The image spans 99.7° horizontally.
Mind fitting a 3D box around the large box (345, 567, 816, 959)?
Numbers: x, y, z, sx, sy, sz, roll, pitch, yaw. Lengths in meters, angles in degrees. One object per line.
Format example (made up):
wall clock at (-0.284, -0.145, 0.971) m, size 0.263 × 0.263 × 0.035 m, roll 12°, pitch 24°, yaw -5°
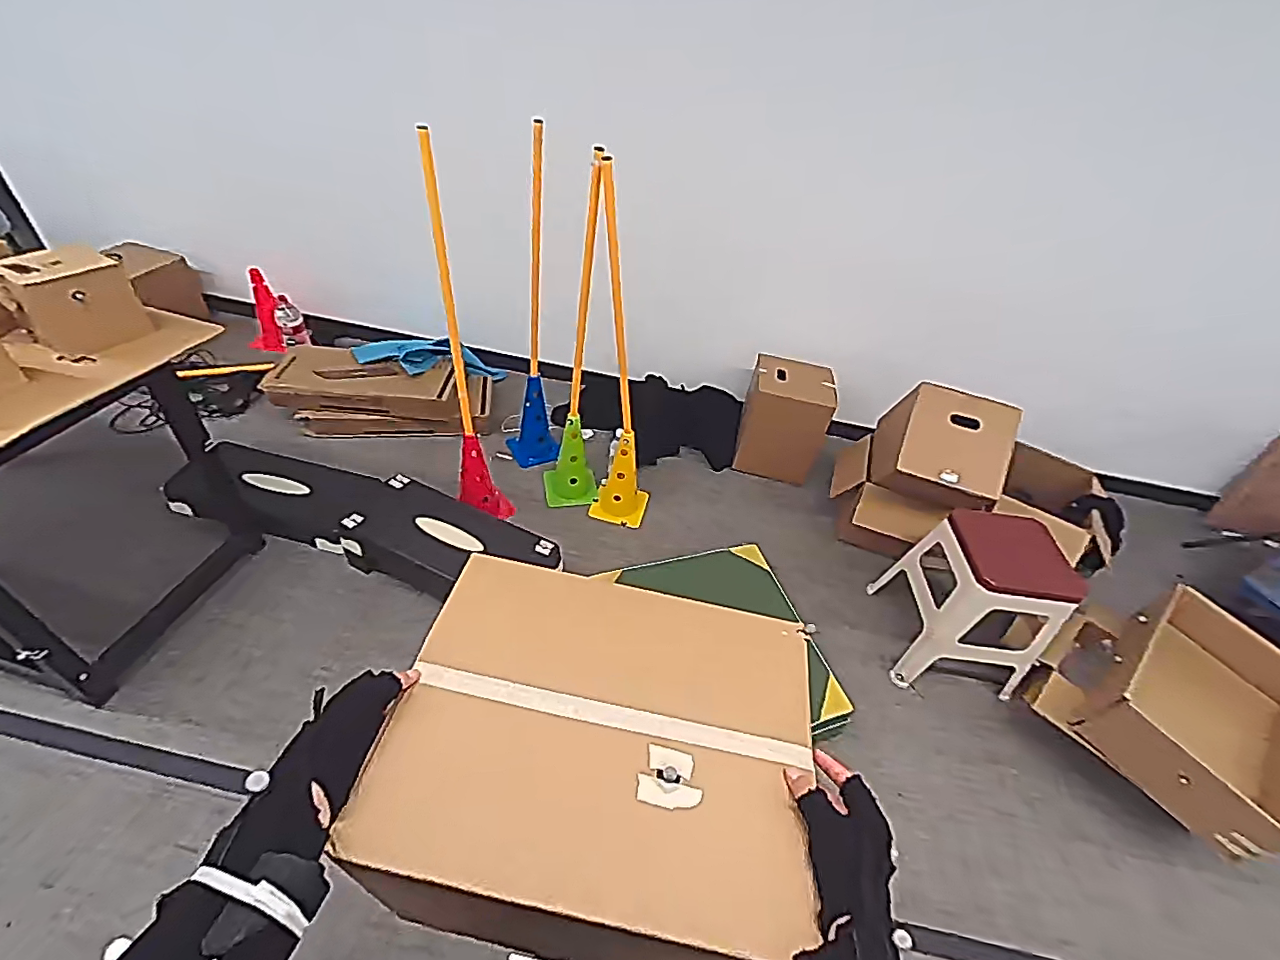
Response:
large box at (-0.049, 0.353, 0.647) m, size 0.408 × 0.320 × 0.320 m, roll 12°, pitch 44°, yaw 2°
